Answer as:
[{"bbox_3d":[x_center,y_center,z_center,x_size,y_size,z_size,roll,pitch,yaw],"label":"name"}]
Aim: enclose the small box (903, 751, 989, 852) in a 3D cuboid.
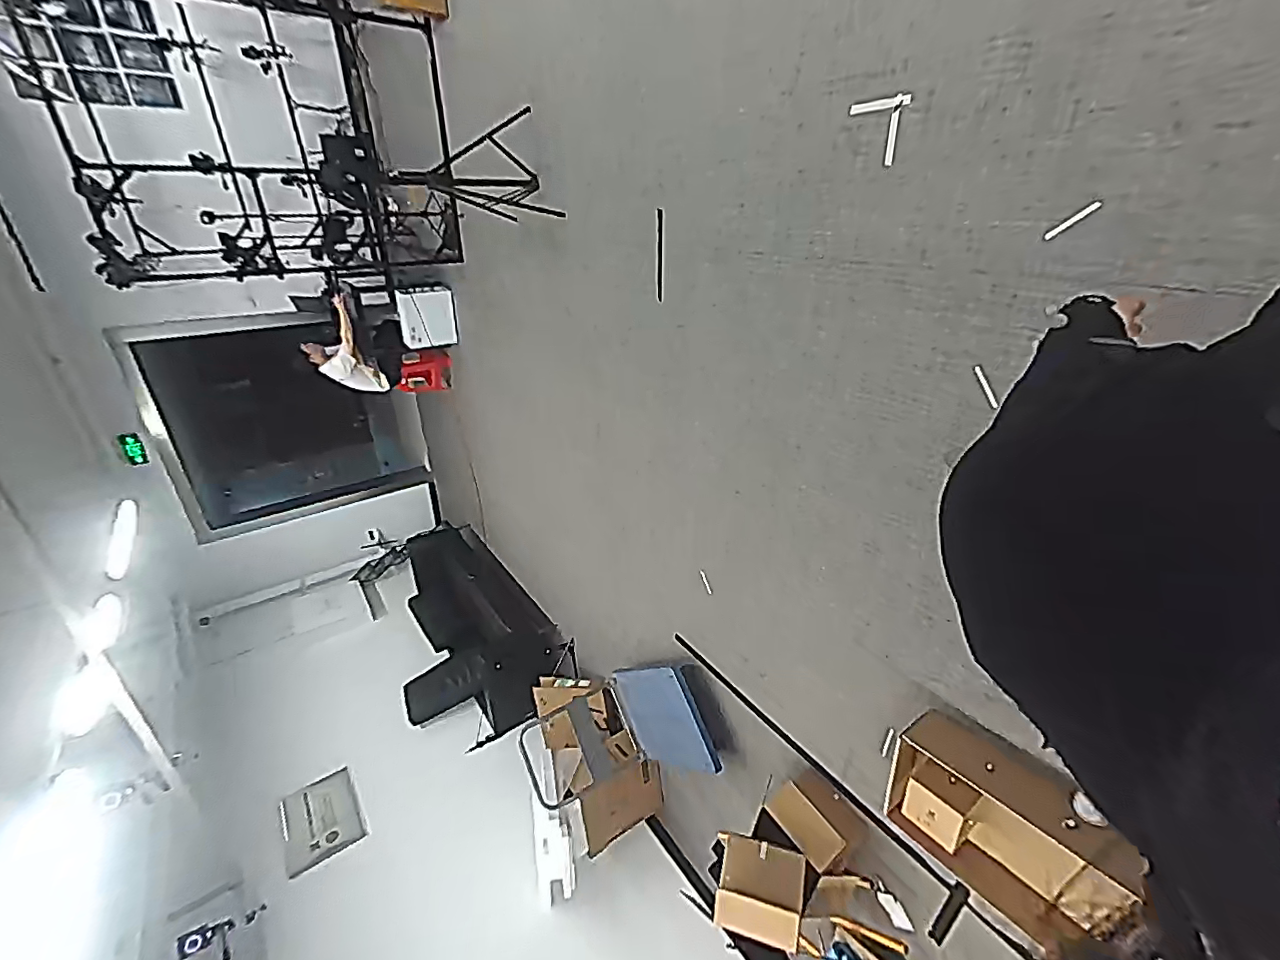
[{"bbox_3d":[0.960,0.997,1.694,0.168,0.176,0.179,29,130,48],"label":"small box"}]
